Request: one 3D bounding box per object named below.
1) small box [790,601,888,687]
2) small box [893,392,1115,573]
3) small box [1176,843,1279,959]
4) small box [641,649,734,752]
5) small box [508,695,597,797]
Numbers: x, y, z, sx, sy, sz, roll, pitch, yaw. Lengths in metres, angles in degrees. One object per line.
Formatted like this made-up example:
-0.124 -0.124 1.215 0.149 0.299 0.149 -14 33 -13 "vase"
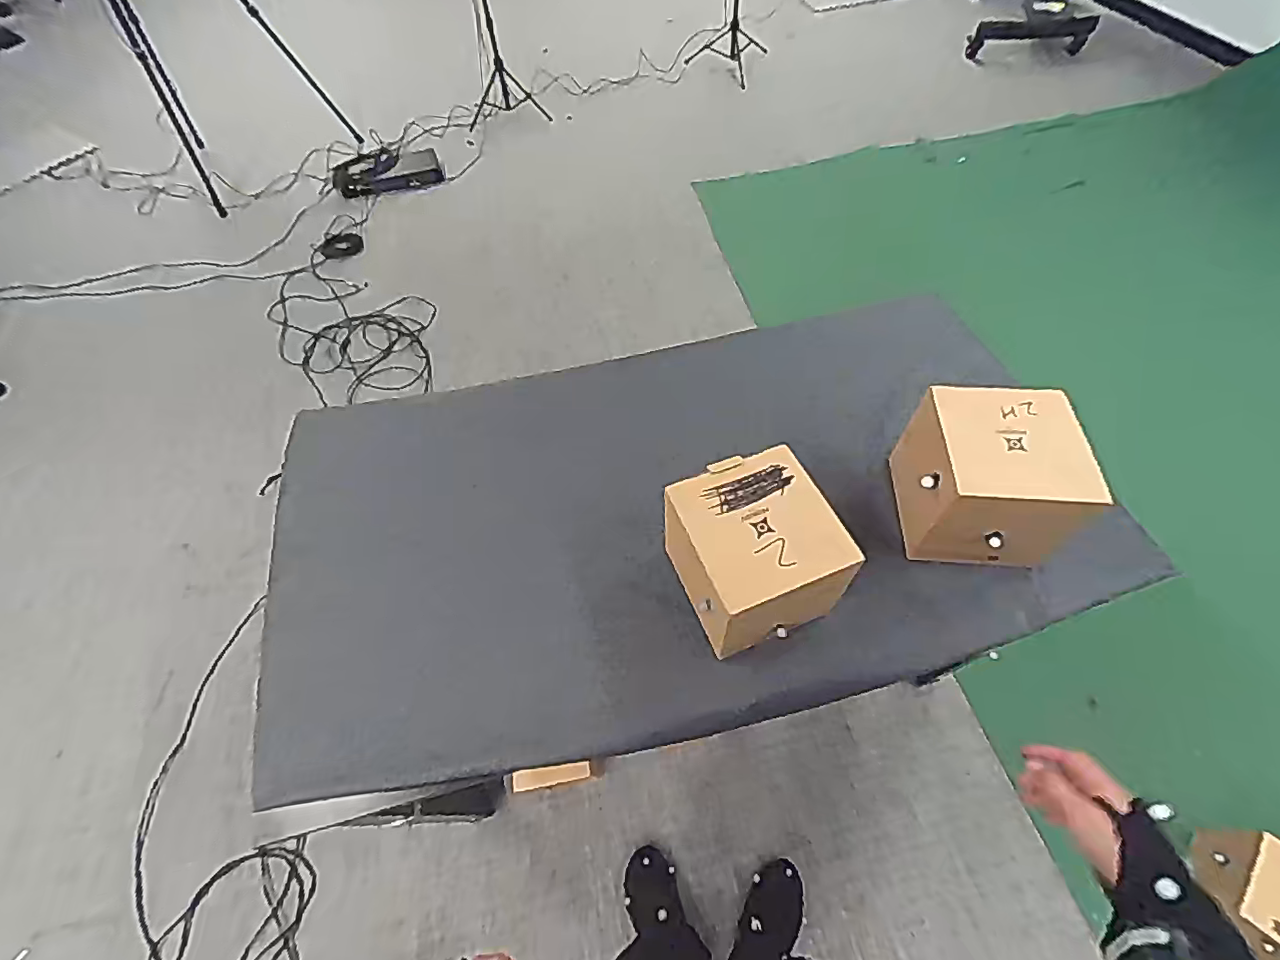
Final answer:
0.474 0.405 1.324 0.179 0.176 0.168 -2 58 0 "small box"
0.453 0.008 0.710 0.168 0.176 0.179 4 56 6 "small box"
1.185 0.823 1.023 0.168 0.176 0.179 38 66 23 "small box"
0.108 0.525 1.270 0.168 0.176 0.179 -15 58 -7 "small box"
-0.196 0.611 1.235 0.168 0.176 0.179 -10 58 -3 "small box"
